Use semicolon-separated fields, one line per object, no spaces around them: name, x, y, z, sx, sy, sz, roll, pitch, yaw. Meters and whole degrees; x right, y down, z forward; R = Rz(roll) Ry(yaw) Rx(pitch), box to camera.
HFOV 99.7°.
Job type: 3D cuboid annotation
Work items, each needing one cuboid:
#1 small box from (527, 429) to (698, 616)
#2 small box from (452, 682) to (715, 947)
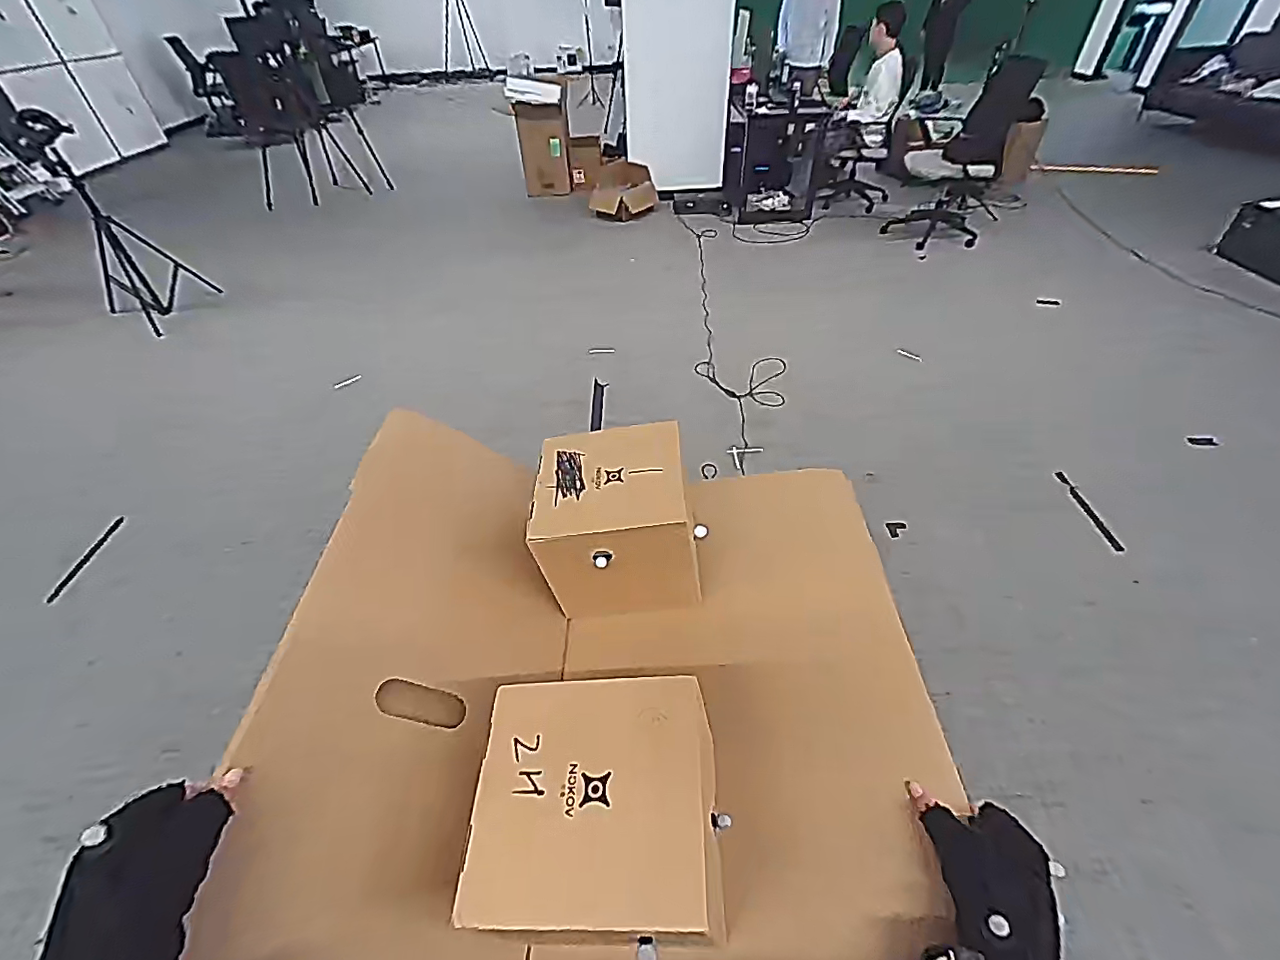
small box;-0.026;0.060;0.693;0.179;0.176;0.168;-7;46;7
small box;-0.028;0.290;0.471;0.179;0.176;0.168;-6;46;9
